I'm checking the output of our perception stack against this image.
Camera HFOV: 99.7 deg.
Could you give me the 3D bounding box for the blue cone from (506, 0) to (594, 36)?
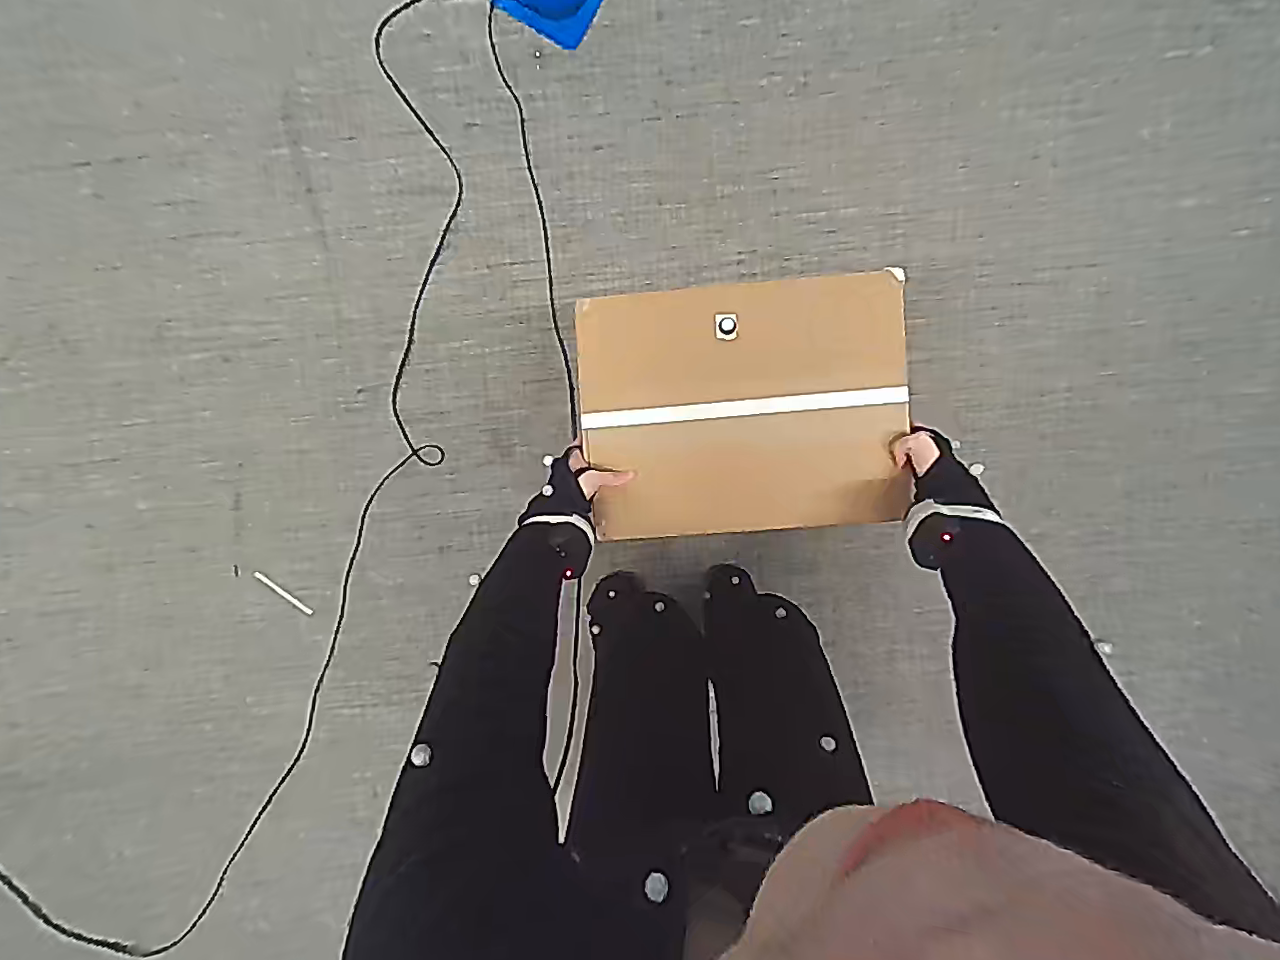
[{"bbox_3d":[-0.152,-0.915,0.815,0.192,0.380,0.193,28,94,-4],"label":"blue cone"}]
